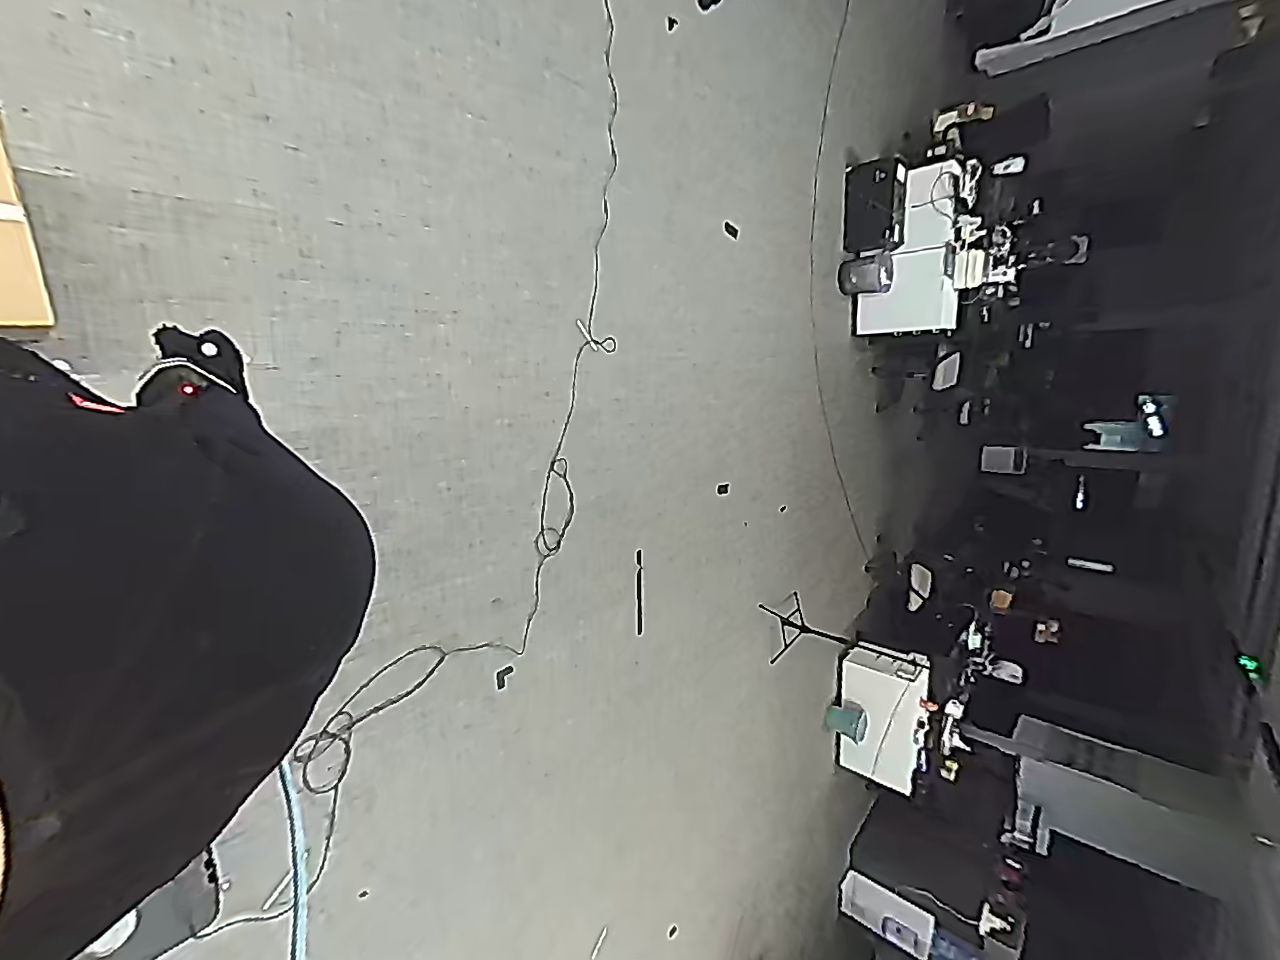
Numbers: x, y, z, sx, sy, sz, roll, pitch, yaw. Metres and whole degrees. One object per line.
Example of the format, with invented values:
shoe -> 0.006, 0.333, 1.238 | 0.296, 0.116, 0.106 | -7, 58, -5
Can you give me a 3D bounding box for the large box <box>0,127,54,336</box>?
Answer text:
large box -> -1.142, -0.363, 0.738 | 0.408, 0.320, 0.320 | -18, 110, -48
